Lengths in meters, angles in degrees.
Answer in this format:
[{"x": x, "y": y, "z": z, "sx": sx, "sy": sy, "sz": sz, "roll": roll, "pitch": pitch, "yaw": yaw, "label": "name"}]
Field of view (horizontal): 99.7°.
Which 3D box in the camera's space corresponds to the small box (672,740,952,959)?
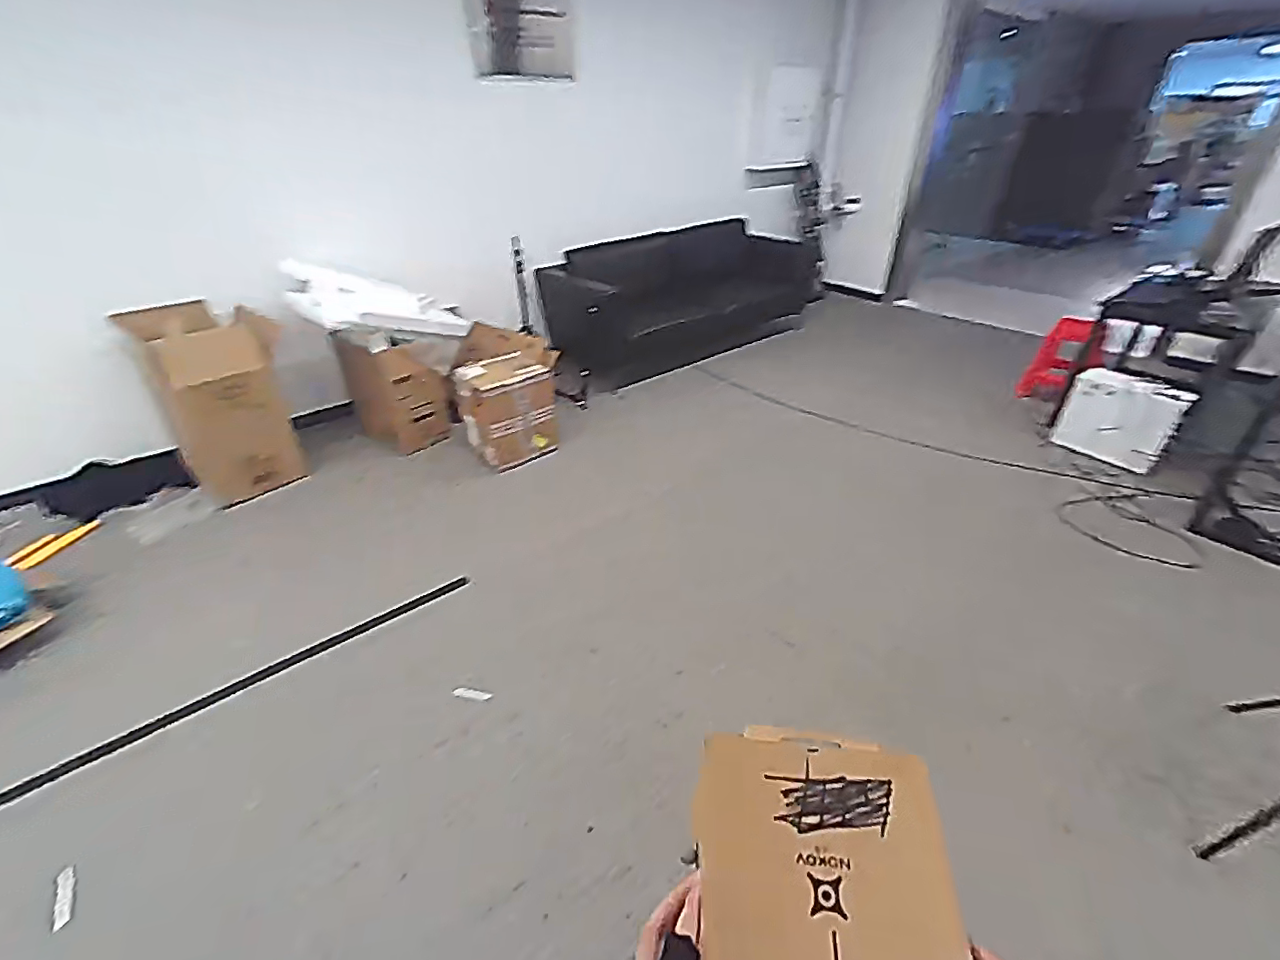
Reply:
[{"x": 0.111, "y": 0.325, "z": 0.410, "sx": 0.168, "sy": 0.176, "sz": 0.179, "roll": 3, "pitch": 45, "yaw": 4, "label": "small box"}]
